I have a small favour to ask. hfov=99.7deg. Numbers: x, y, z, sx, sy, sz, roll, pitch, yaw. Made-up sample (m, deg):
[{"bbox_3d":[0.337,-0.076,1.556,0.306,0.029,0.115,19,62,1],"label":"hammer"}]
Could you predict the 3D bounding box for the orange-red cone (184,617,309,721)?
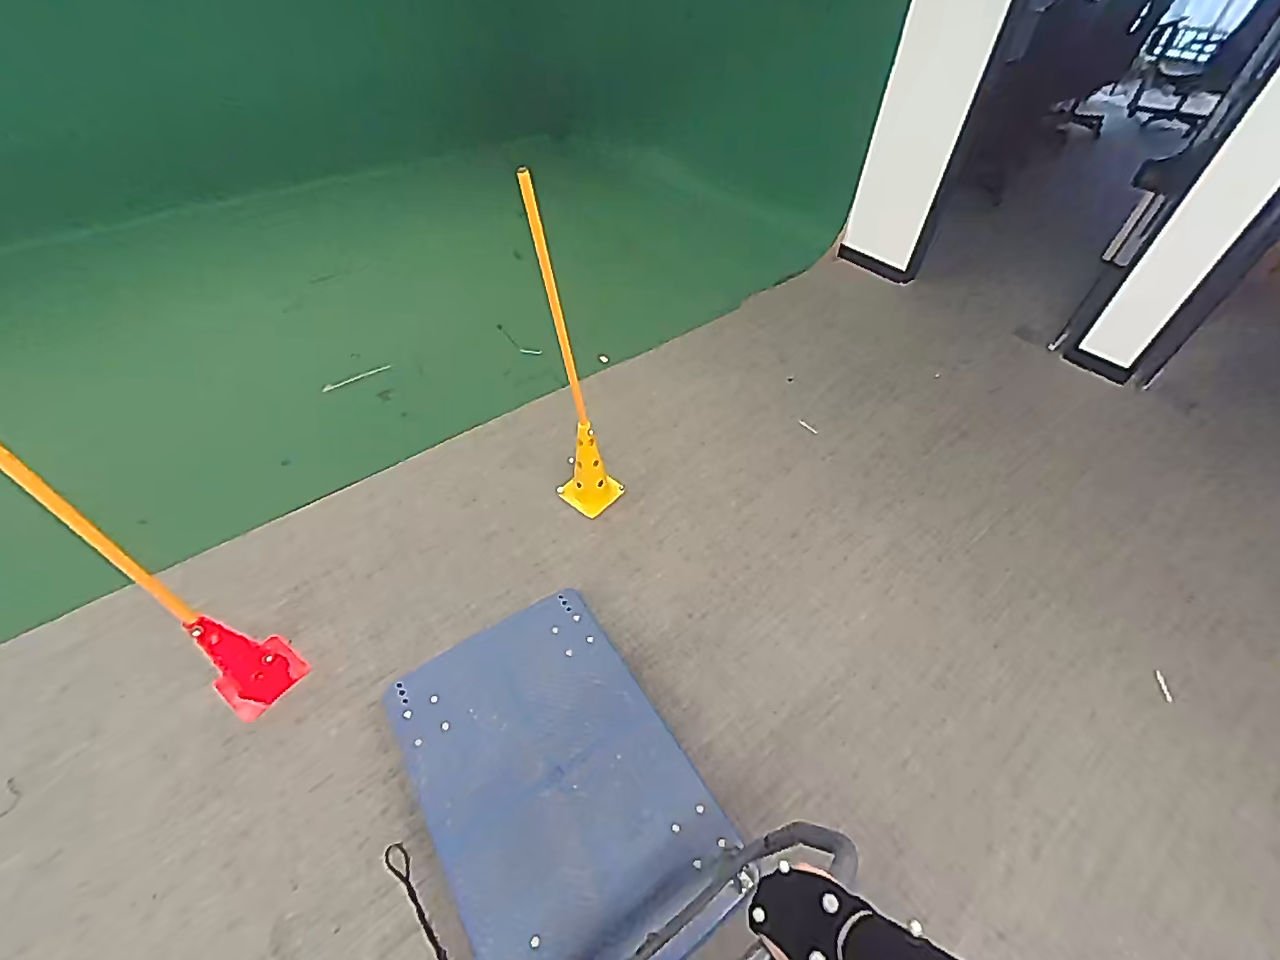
[{"bbox_3d":[-1.117,0.476,1.478,0.198,0.360,0.199,29,56,24],"label":"orange-red cone"}]
